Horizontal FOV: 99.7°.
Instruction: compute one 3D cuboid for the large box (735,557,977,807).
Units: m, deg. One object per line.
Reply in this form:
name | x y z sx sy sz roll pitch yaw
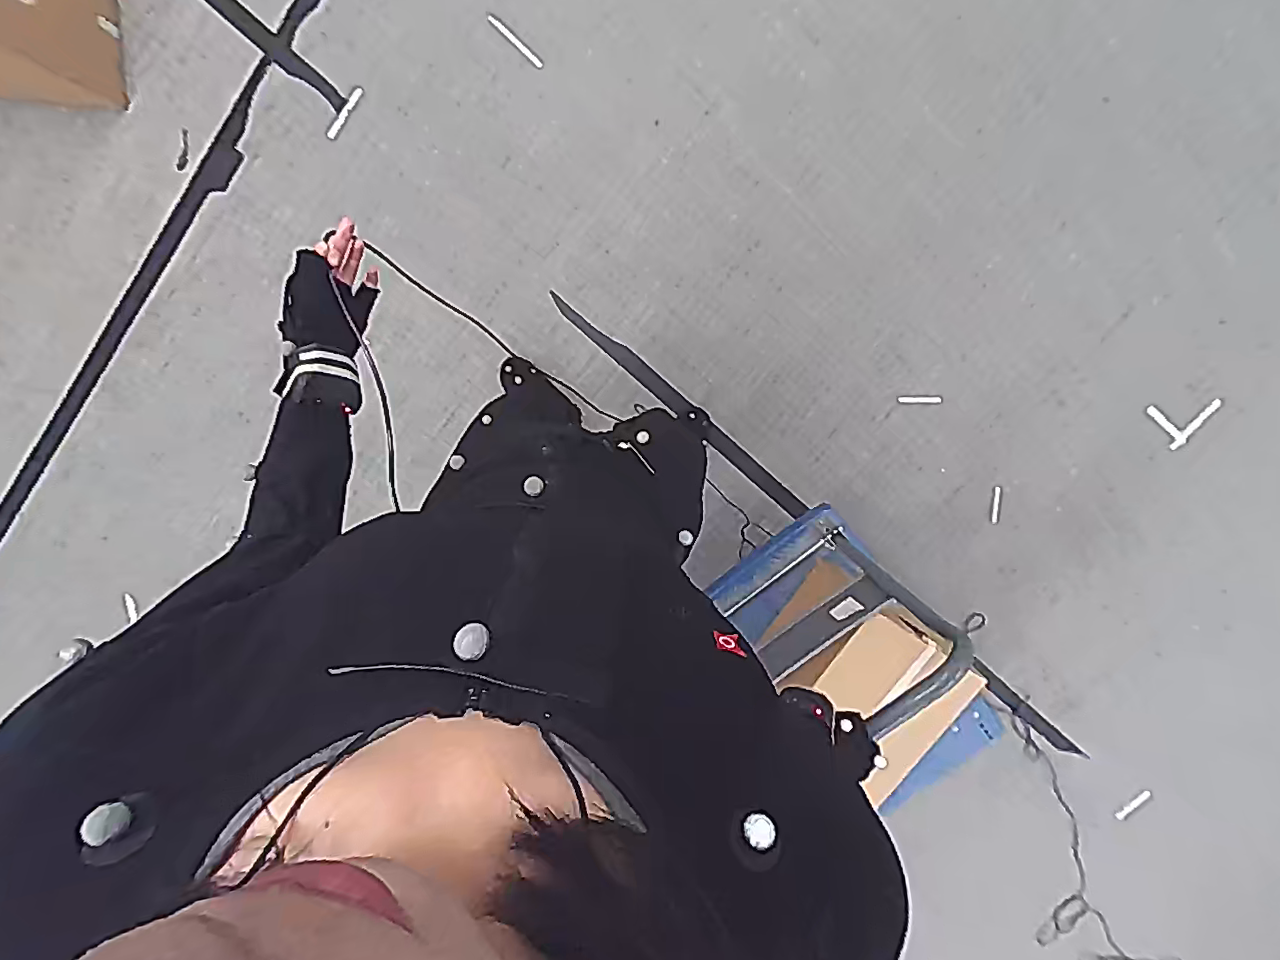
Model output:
large box | 0.488 0.466 1.309 0.320 0.320 0.408 32 101 -7
